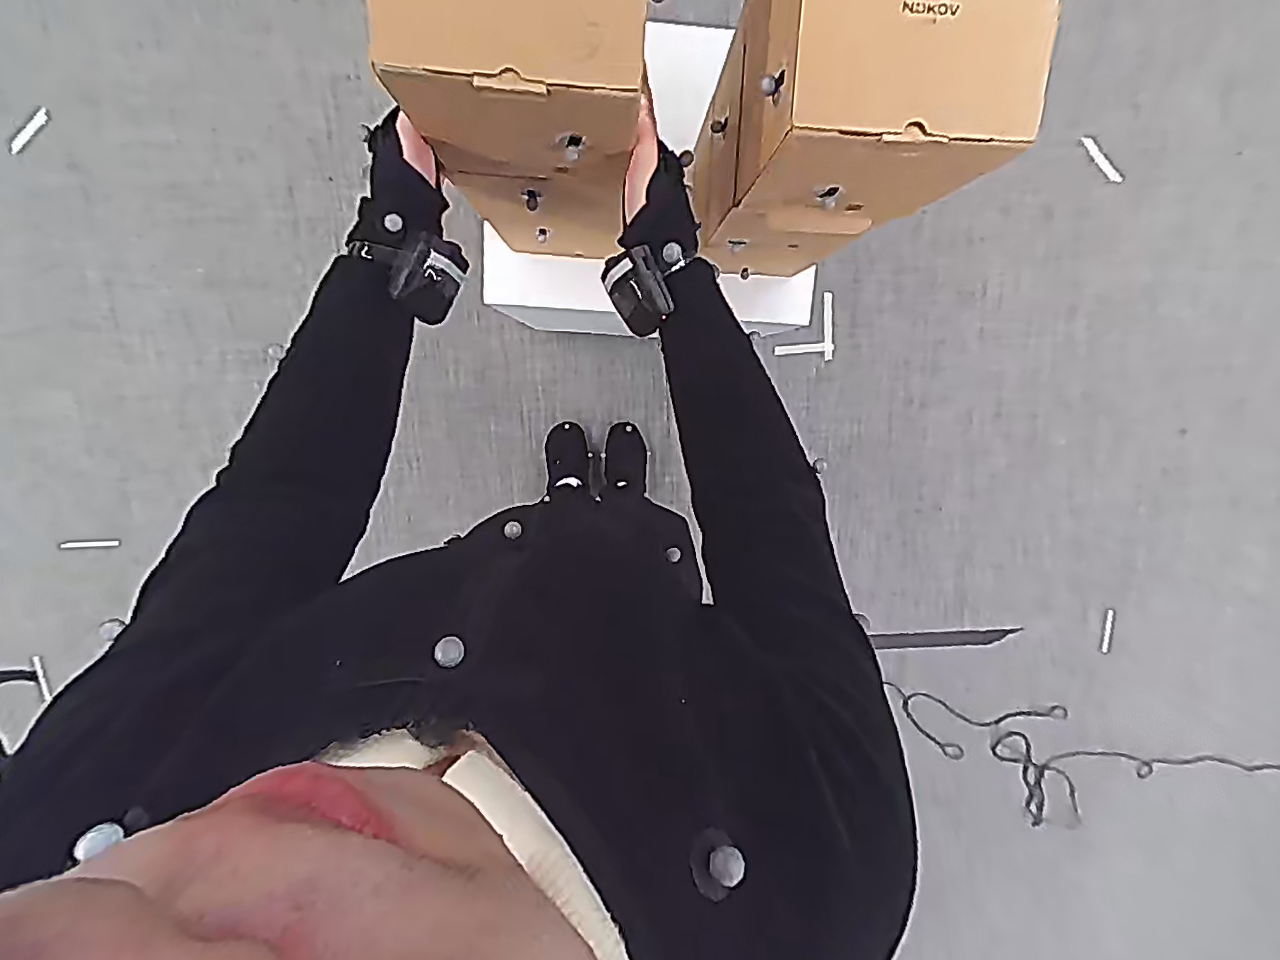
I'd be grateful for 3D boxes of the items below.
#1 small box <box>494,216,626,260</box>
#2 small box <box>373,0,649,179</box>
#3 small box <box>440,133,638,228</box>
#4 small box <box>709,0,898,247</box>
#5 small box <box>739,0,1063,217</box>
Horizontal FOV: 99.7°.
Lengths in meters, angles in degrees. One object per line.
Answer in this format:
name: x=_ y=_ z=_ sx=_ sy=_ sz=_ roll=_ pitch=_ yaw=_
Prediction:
small box: x=-0.098 y=-0.407 z=0.715 sx=0.168 sy=0.176 sz=0.179 roll=4 pitch=101 yaw=-4
small box: x=-0.077 y=-0.342 z=0.392 sx=0.168 sy=0.176 sz=0.179 roll=3 pitch=101 yaw=-5
small box: x=-0.091 y=-0.369 z=0.553 sx=0.179 sy=0.176 sz=0.168 roll=3 pitch=102 yaw=-4
small box: x=0.169 y=-0.355 z=0.569 sx=0.168 sy=0.176 sz=0.179 roll=2 pitch=101 yaw=-3
small box: x=0.177 y=-0.320 z=0.410 sx=0.168 sy=0.176 sz=0.179 roll=1 pitch=102 yaw=-3
